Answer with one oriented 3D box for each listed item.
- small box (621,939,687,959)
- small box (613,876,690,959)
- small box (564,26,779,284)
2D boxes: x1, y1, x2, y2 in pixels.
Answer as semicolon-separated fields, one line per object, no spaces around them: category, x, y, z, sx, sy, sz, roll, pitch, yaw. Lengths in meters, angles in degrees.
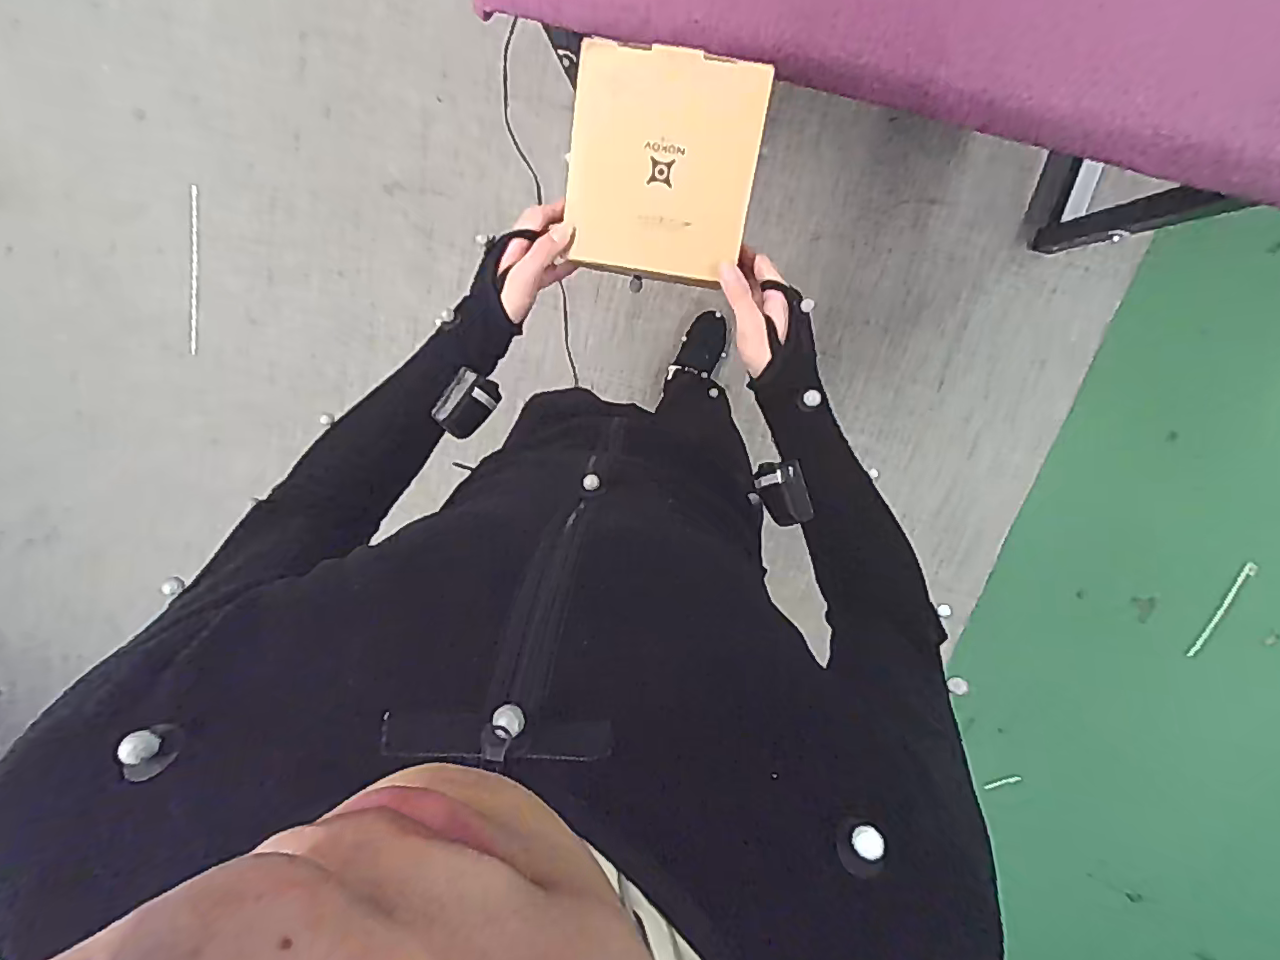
small box;0.020;1.258;1.285;0.168;0.176;0.179;19;106;-1
small box;0.032;1.216;1.442;0.168;0.176;0.179;17;106;-1
small box;0.027;-0.306;0.549;0.168;0.176;0.179;10;108;1
